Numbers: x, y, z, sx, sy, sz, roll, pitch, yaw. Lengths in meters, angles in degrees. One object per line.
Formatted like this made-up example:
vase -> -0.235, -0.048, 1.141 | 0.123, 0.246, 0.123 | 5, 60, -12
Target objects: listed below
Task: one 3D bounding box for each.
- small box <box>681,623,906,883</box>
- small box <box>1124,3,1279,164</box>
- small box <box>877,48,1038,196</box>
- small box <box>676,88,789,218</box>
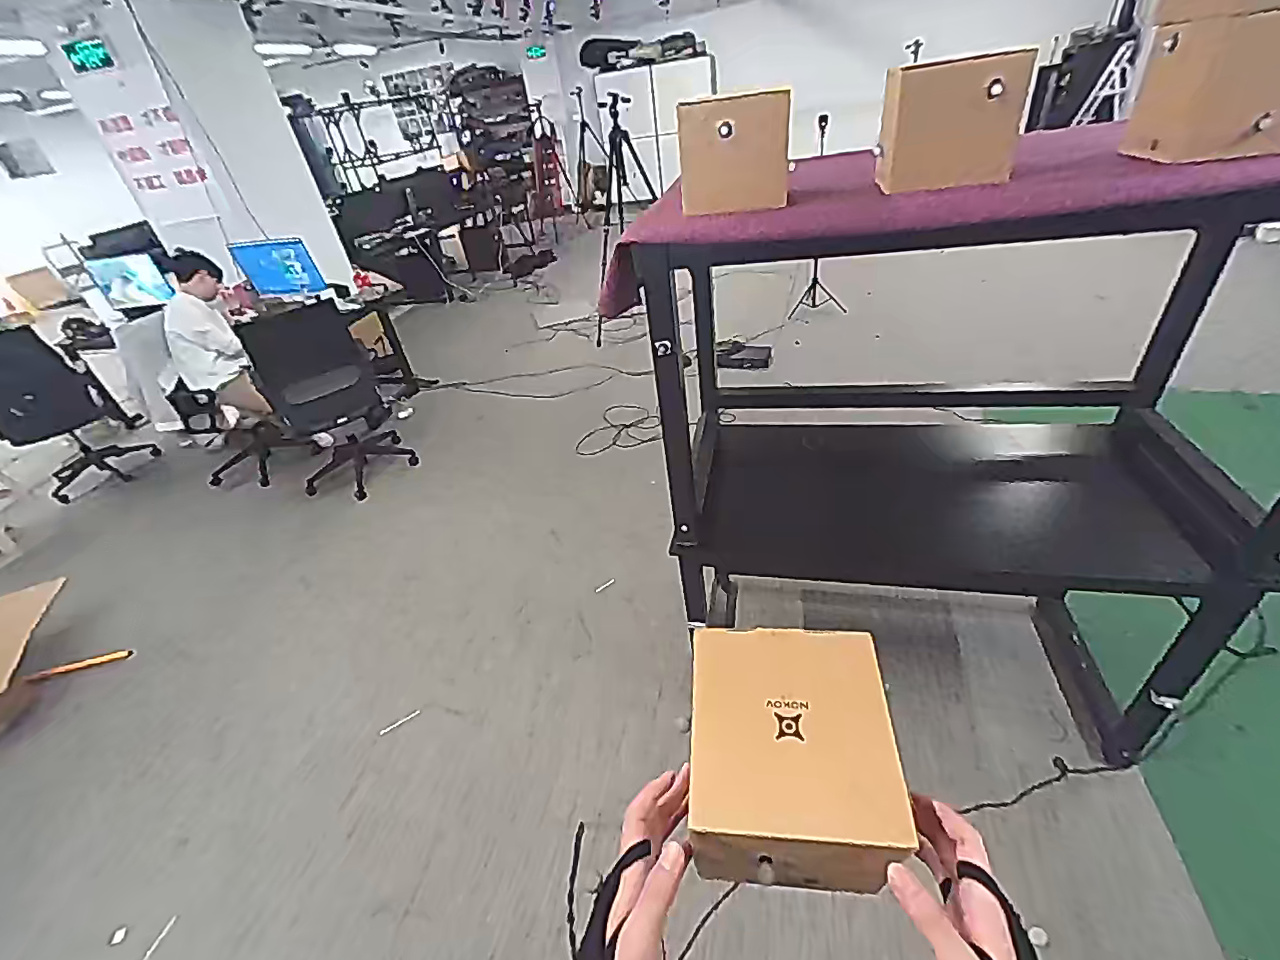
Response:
small box -> 0.132, 0.256, 0.511 | 0.168, 0.176, 0.179 | -2, 43, 9
small box -> 0.848, -0.560, 0.762 | 0.179, 0.176, 0.168 | 1, 35, 15
small box -> 0.488, -0.568, 0.863 | 0.179, 0.176, 0.168 | 1, 36, 16
small box -> 0.166, -0.567, 0.941 | 0.179, 0.176, 0.168 | 0, 37, 12
